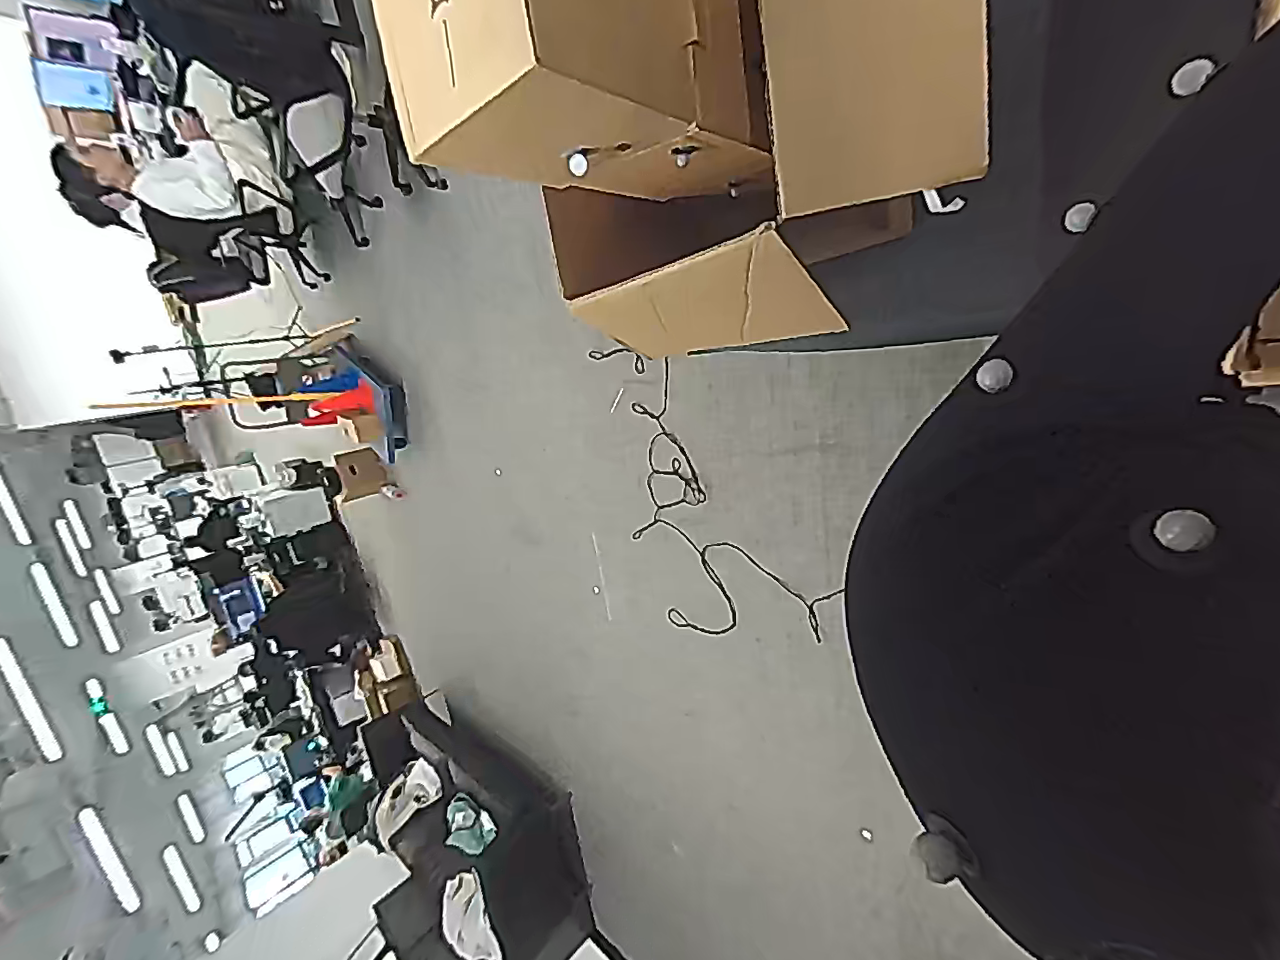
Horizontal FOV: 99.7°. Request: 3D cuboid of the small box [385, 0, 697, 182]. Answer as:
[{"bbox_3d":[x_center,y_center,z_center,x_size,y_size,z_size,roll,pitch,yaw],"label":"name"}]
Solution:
[{"bbox_3d":[-0.074,-0.359,0.419,0.168,0.176,0.179,2,107,41],"label":"small box"}]
